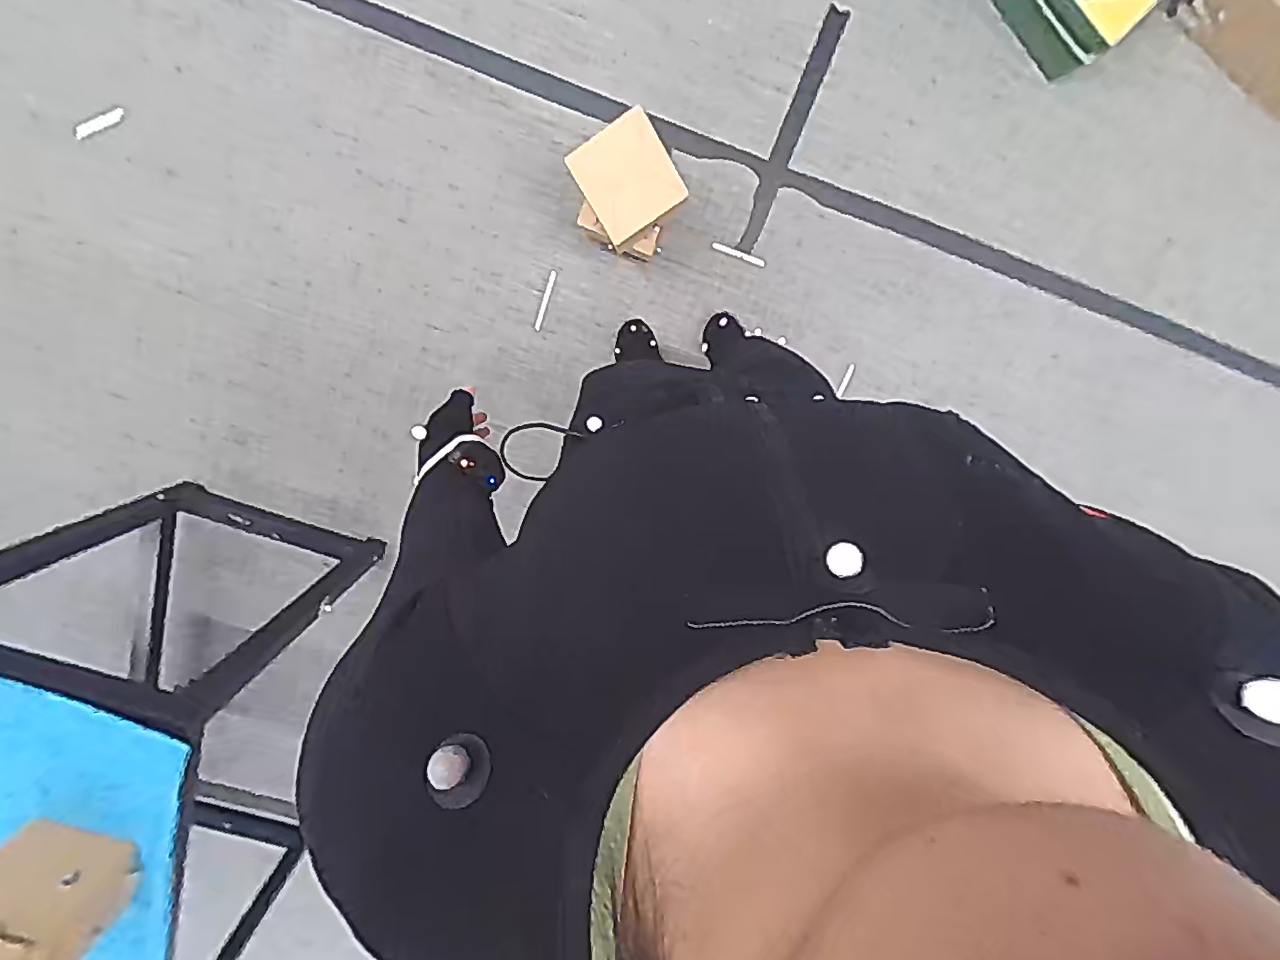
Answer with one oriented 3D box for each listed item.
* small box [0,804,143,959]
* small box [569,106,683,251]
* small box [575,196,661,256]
[{"bbox_3d":[-0.988,0.690,0.896,0.179,0.176,0.168,19,107,-5],"label":"small box"},{"bbox_3d":[-0.025,-0.585,1.069,0.168,0.176,0.179,-32,104,9],"label":"small box"},{"bbox_3d":[-0.030,-0.626,1.233,0.179,0.176,0.168,22,106,-6],"label":"small box"}]
